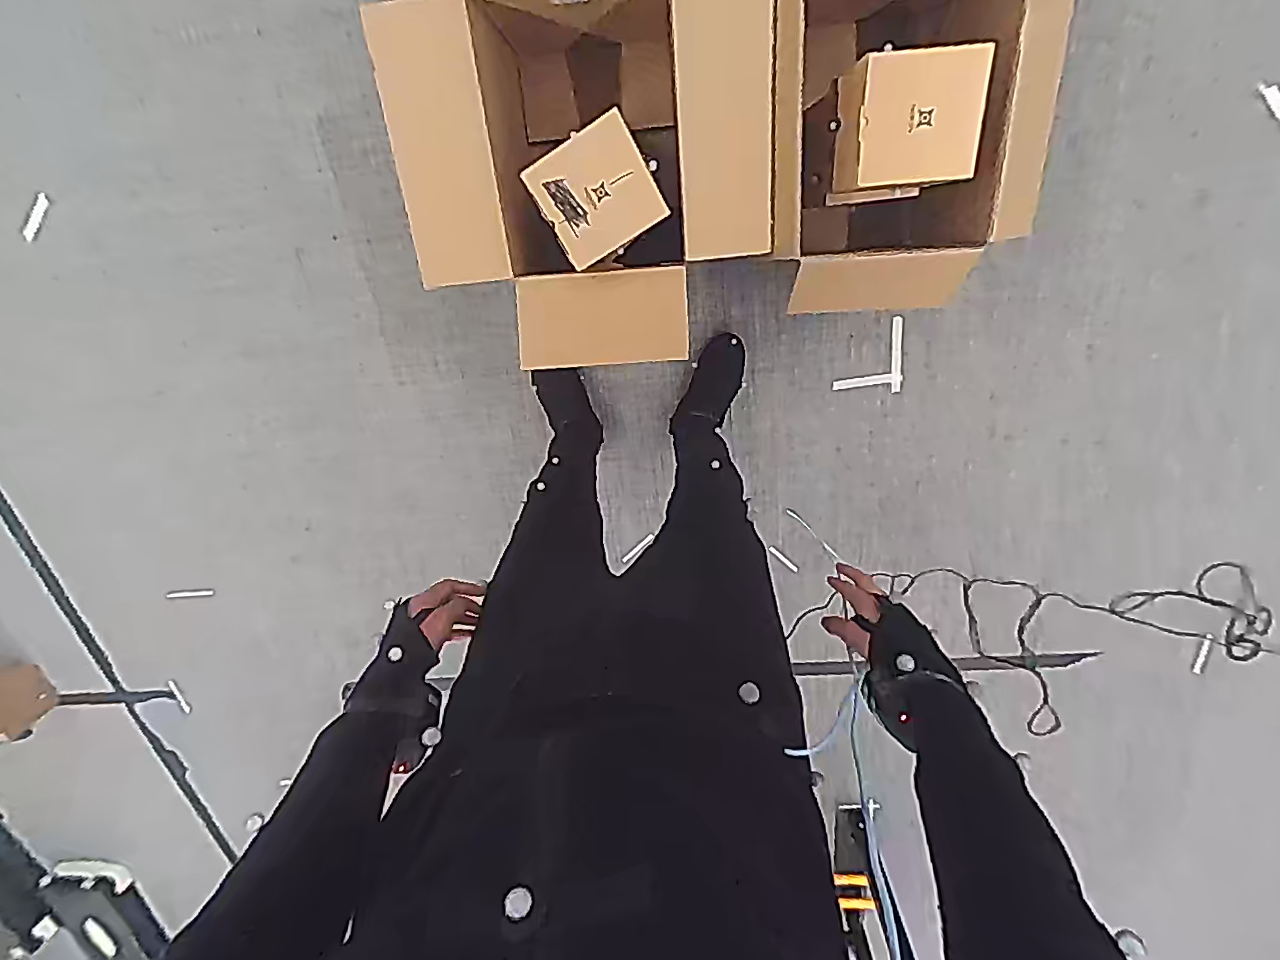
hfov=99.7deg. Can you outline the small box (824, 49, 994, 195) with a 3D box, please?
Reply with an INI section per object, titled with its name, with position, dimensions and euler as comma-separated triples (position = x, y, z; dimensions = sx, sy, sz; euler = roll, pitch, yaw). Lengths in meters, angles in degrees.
[small box]
position = 0.406, -0.549, 0.850
dimensions = 0.179, 0.176, 0.168
euler = -3, 115, 4
